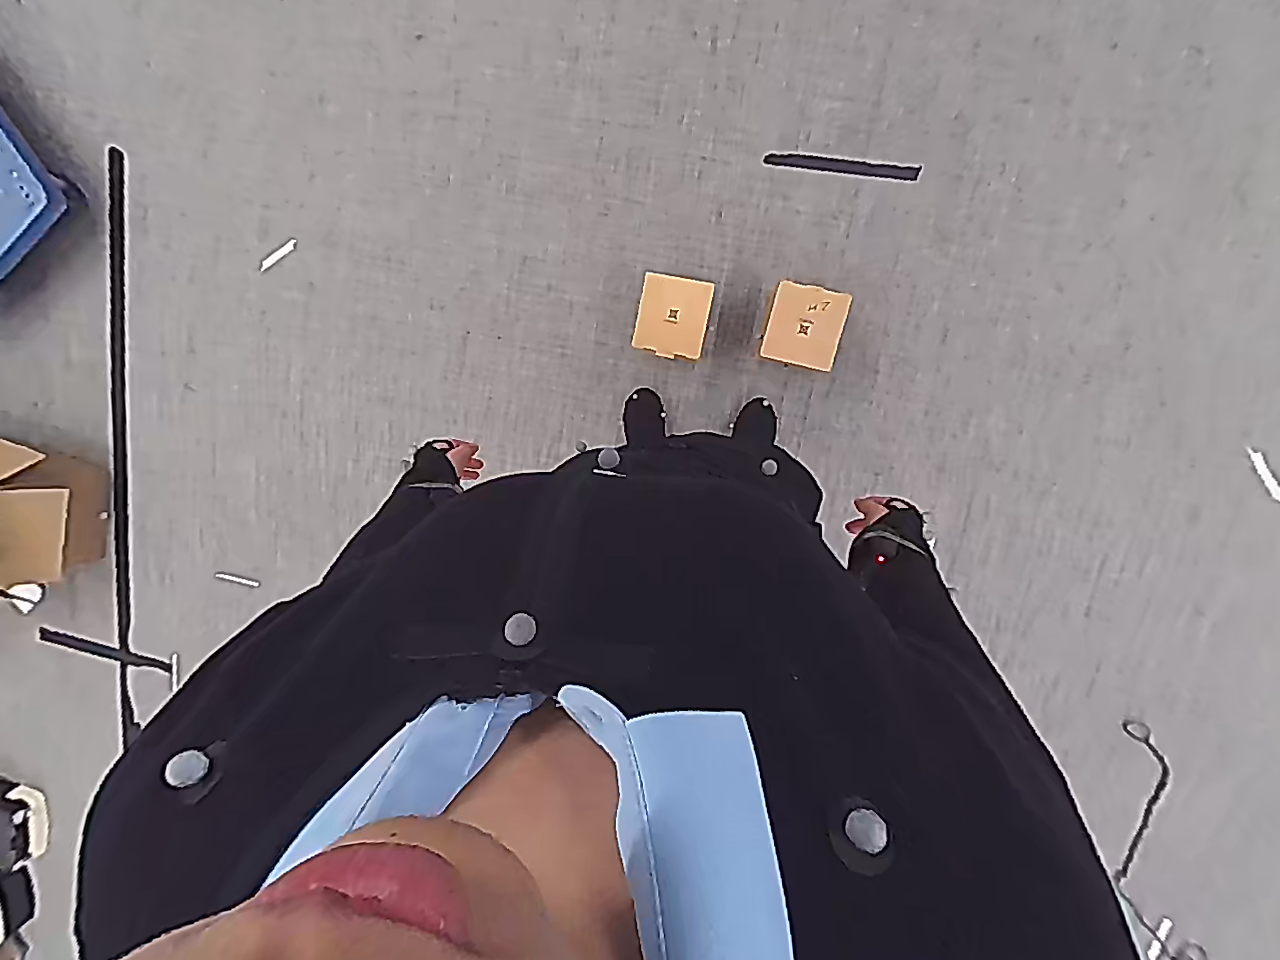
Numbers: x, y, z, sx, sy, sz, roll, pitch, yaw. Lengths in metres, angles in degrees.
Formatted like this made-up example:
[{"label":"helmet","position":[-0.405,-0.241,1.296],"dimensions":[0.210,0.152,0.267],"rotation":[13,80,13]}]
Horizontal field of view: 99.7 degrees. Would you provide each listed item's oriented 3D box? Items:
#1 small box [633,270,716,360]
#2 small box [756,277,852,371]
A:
[{"label":"small box","position":[0.088,-0.399,1.331],"dimensions":[0.168,0.176,0.179],"rotation":[12,102,6]},{"label":"small box","position":[0.382,-0.365,1.294],"dimensions":[0.168,0.176,0.179],"rotation":[15,101,4]}]
